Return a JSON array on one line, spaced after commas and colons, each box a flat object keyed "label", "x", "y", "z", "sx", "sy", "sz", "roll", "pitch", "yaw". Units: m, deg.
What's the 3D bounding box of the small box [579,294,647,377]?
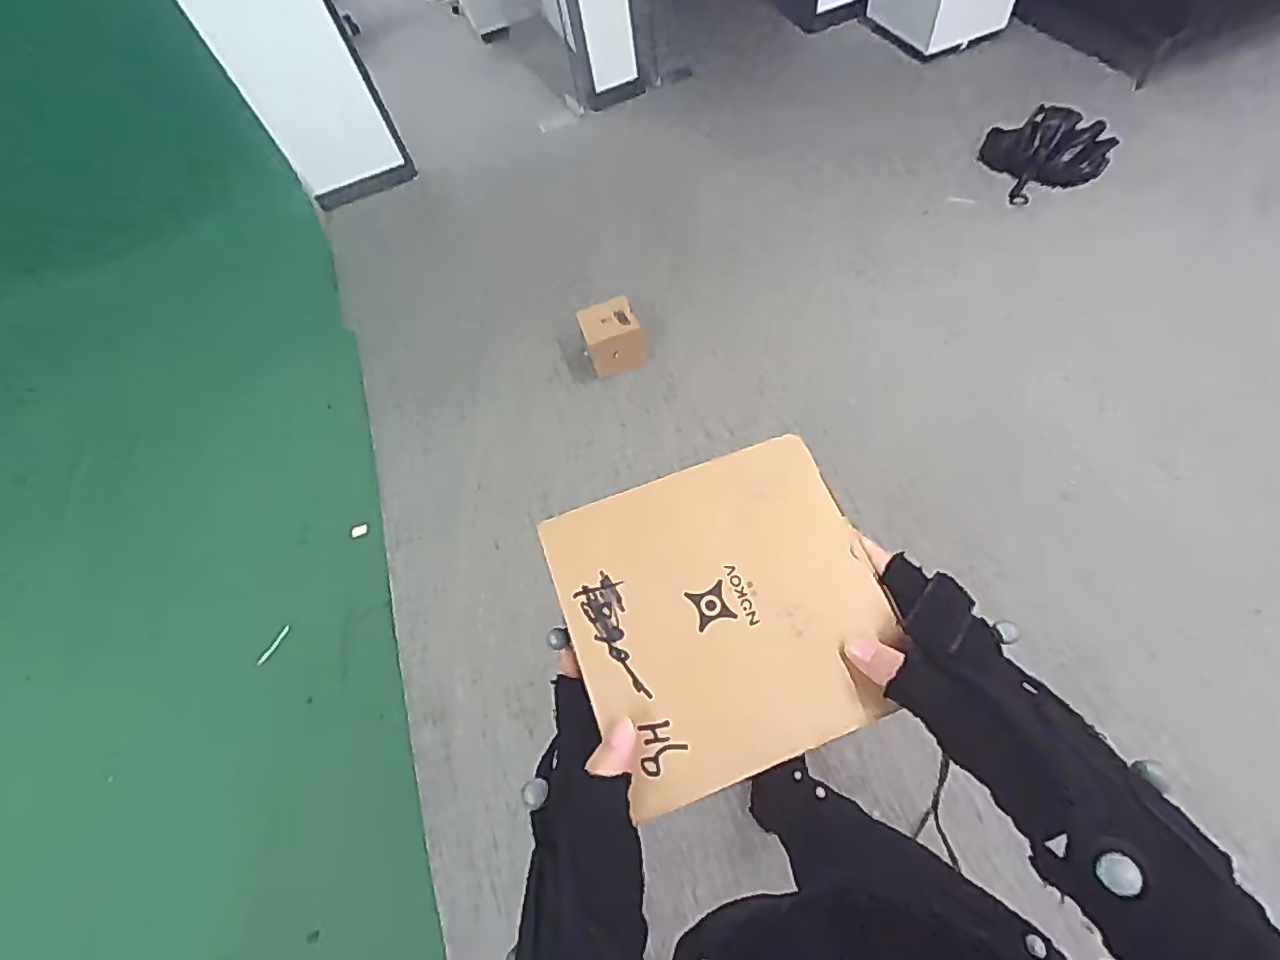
[{"label": "small box", "x": -0.082, "y": -0.476, "z": 1.793, "sx": 0.179, "sy": 0.176, "sz": 0.168, "roll": -22, "pitch": 60, "yaw": -4}]

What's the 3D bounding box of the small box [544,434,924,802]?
[{"label": "small box", "x": 0.047, "y": 0.096, "z": 0.382, "sx": 0.179, "sy": 0.176, "sz": 0.168, "roll": -19, "pitch": 67, "yaw": -7}]
